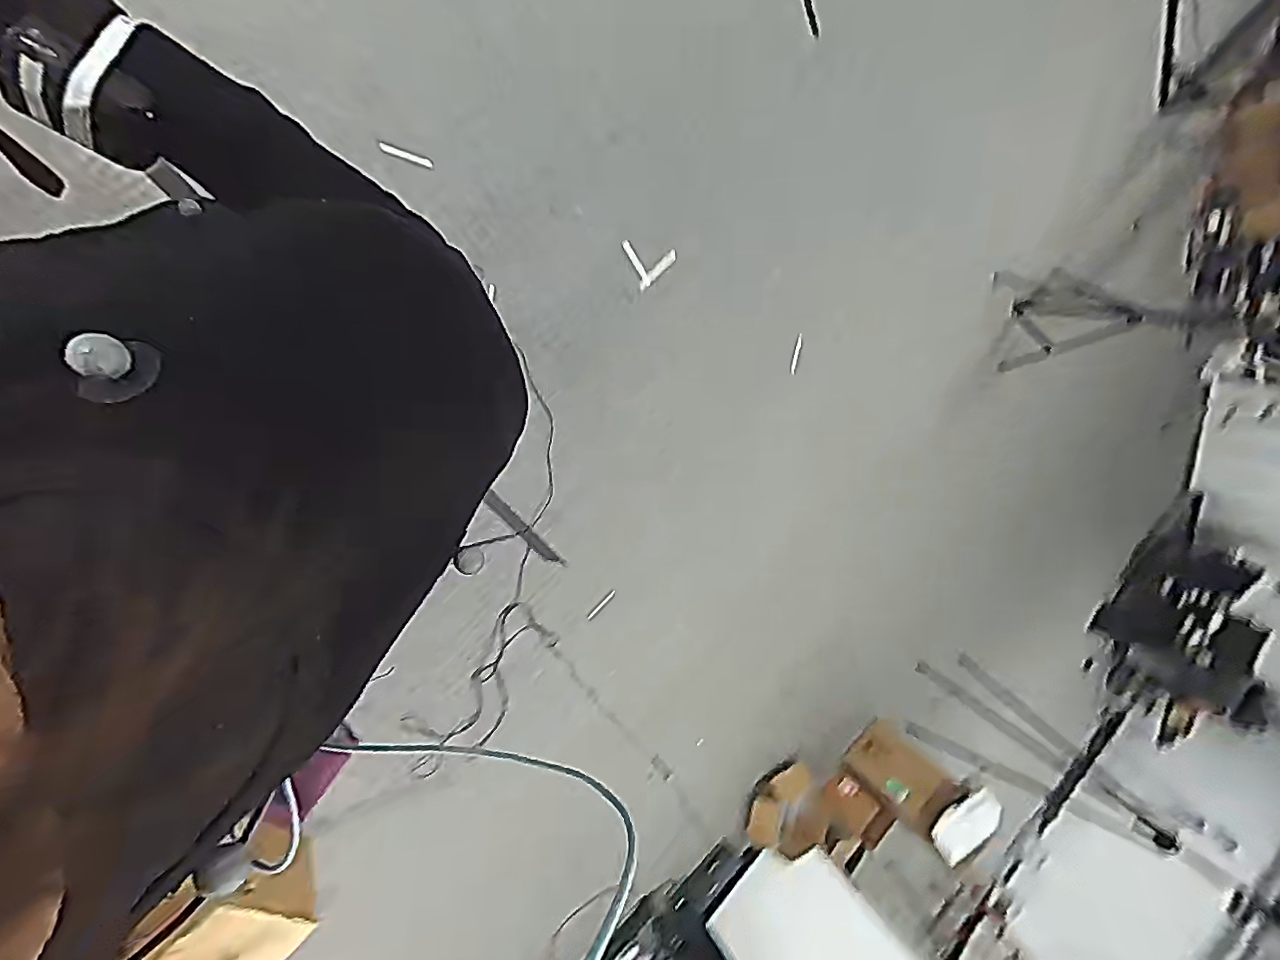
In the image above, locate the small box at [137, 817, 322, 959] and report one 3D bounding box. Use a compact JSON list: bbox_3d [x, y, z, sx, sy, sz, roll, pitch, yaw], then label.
[{"bbox_3d":[-0.654,0.692,0.879,0.168,0.176,0.179,-45,127,-10],"label":"small box"}]
